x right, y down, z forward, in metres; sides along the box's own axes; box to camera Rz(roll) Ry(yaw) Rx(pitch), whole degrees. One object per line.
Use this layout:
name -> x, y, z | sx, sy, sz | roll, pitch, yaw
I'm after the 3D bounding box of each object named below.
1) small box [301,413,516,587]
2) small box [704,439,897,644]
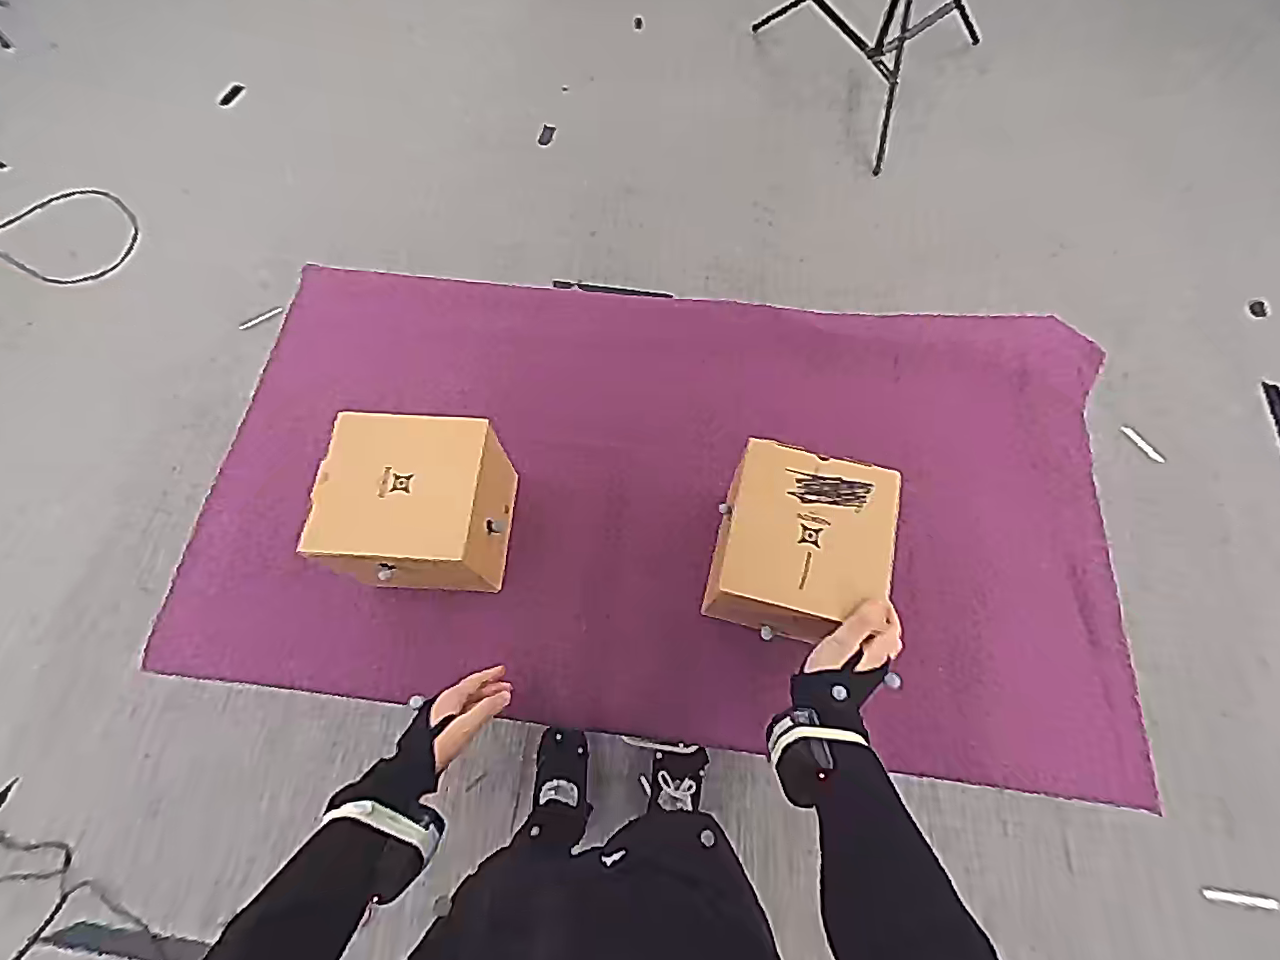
small box -> -0.259, 0.033, 0.659 | 0.179, 0.176, 0.168 | 3, 68, 2
small box -> 0.176, 0.080, 0.633 | 0.168, 0.176, 0.179 | 14, 70, 6
